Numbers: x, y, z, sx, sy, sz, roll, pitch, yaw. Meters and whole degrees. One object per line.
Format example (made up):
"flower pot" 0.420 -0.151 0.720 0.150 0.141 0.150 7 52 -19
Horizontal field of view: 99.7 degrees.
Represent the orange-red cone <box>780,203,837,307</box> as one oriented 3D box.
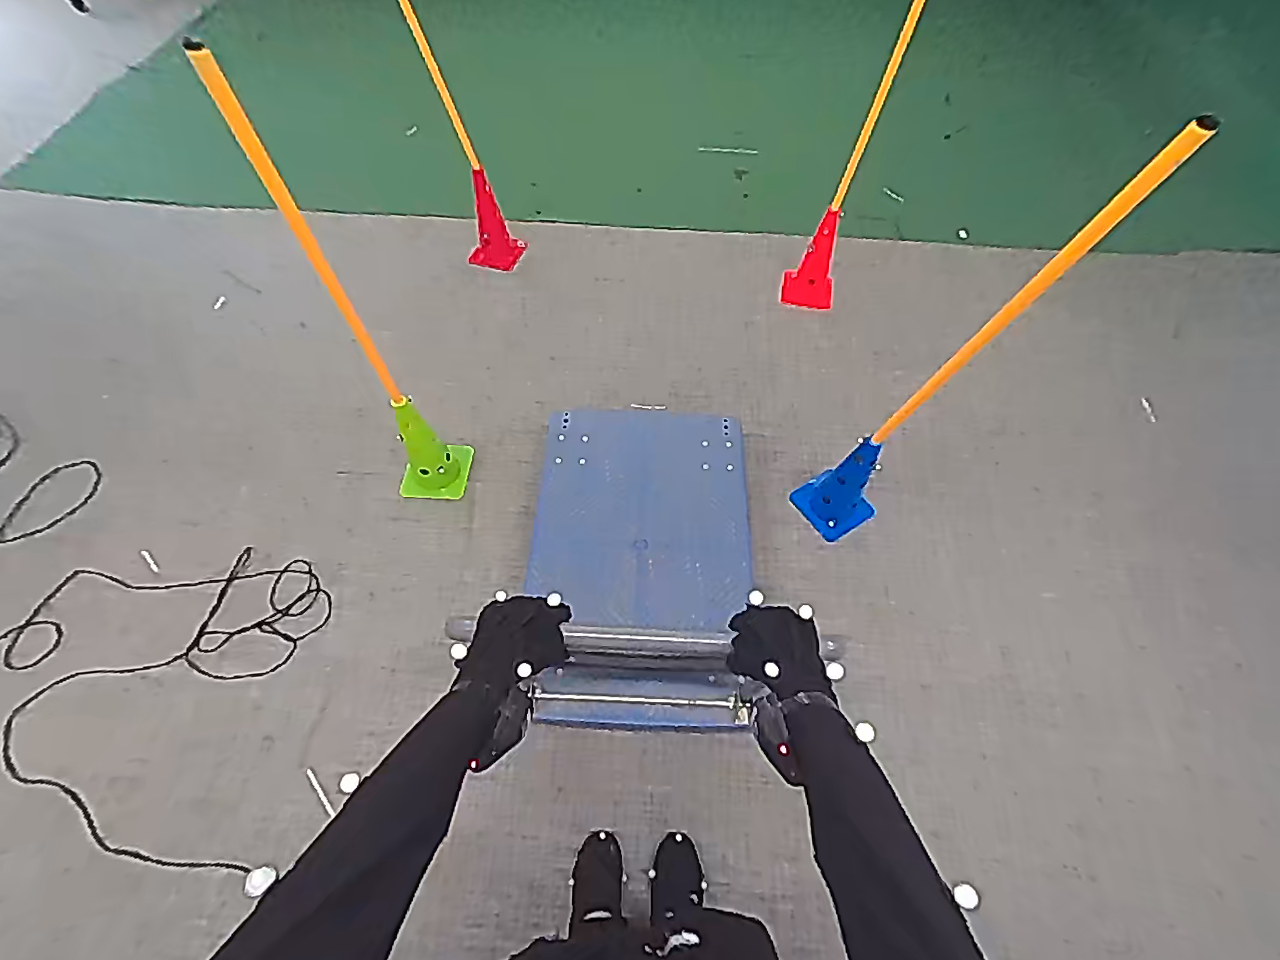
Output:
"orange-red cone" 0.670 -0.860 2.024 0.198 0.360 0.199 13 61 8
